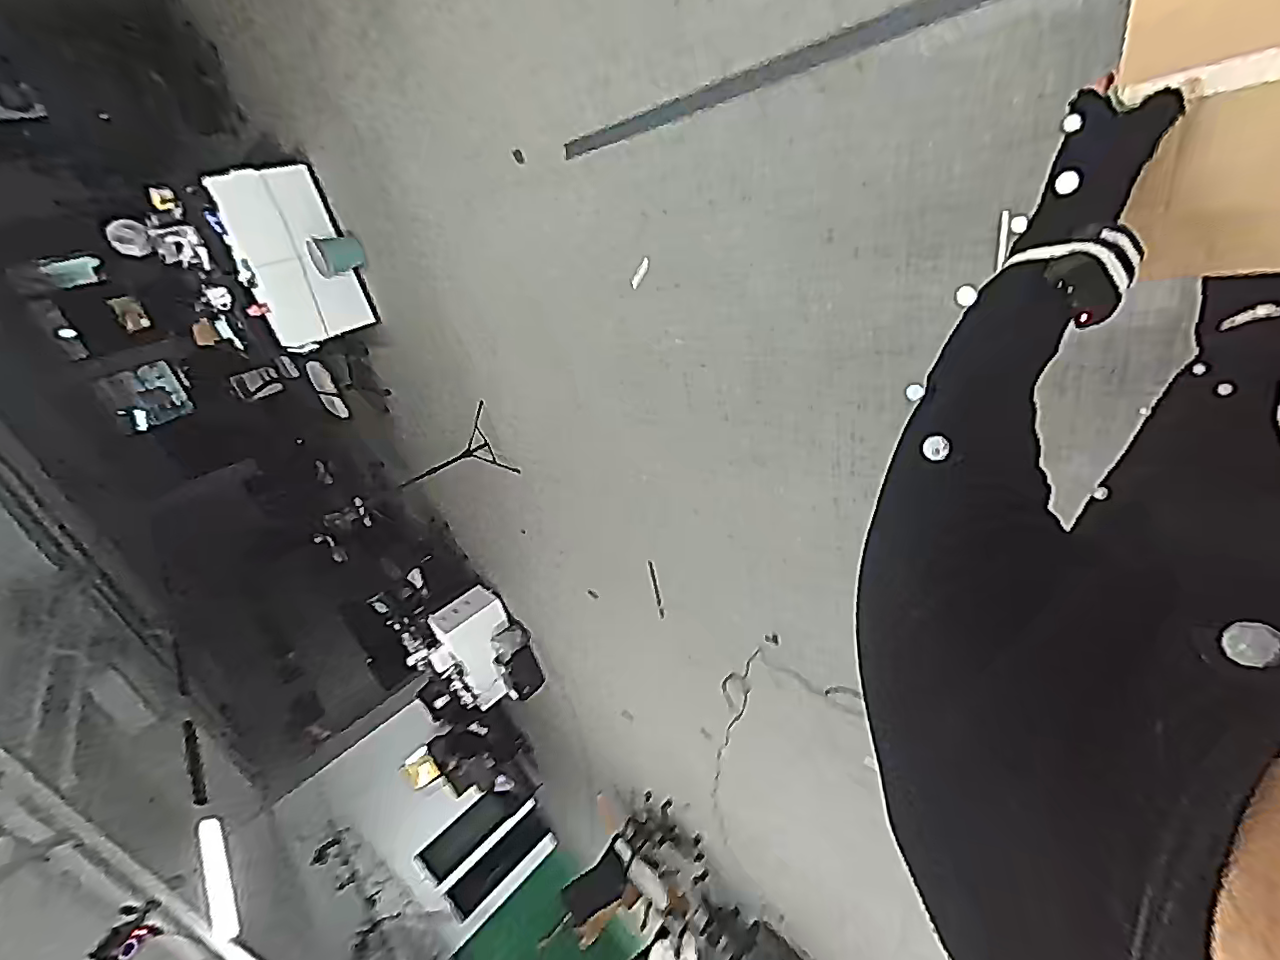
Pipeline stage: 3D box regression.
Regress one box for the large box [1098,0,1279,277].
[{"bbox_3d":[0.670,-0.354,0.425,0.408,0.320,0.320,16,122,47],"label":"large box"}]
